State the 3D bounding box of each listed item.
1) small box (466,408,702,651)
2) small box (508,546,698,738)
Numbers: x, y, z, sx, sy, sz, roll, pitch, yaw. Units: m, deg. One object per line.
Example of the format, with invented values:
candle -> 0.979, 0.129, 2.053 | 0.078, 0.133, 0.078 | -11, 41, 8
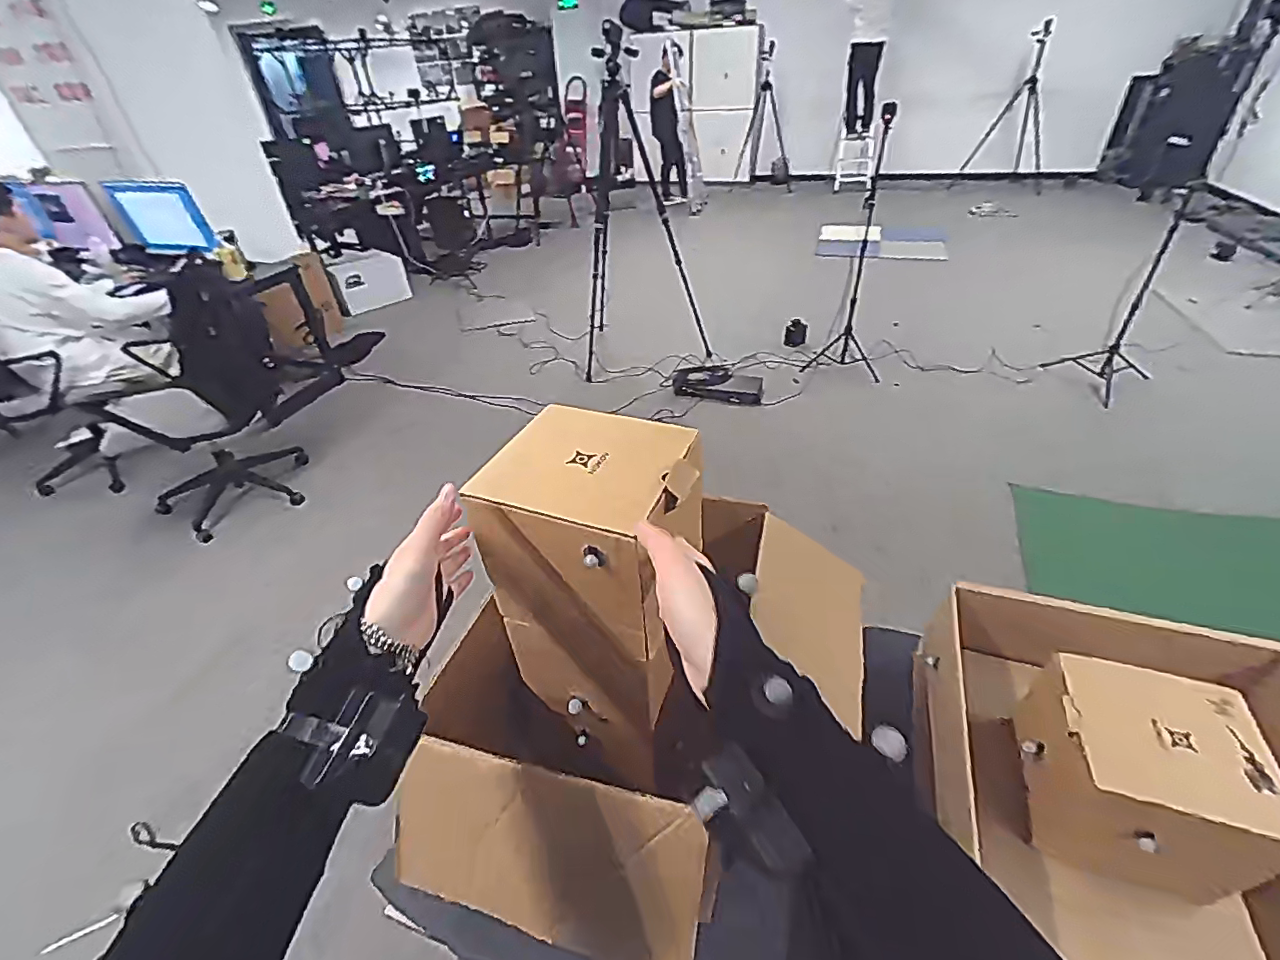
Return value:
small box -> -0.044, 0.048, 0.560 | 0.179, 0.176, 0.168 | 13, 41, 19
small box -> -0.034, 0.174, 0.661 | 0.168, 0.176, 0.179 | 12, 42, 18
